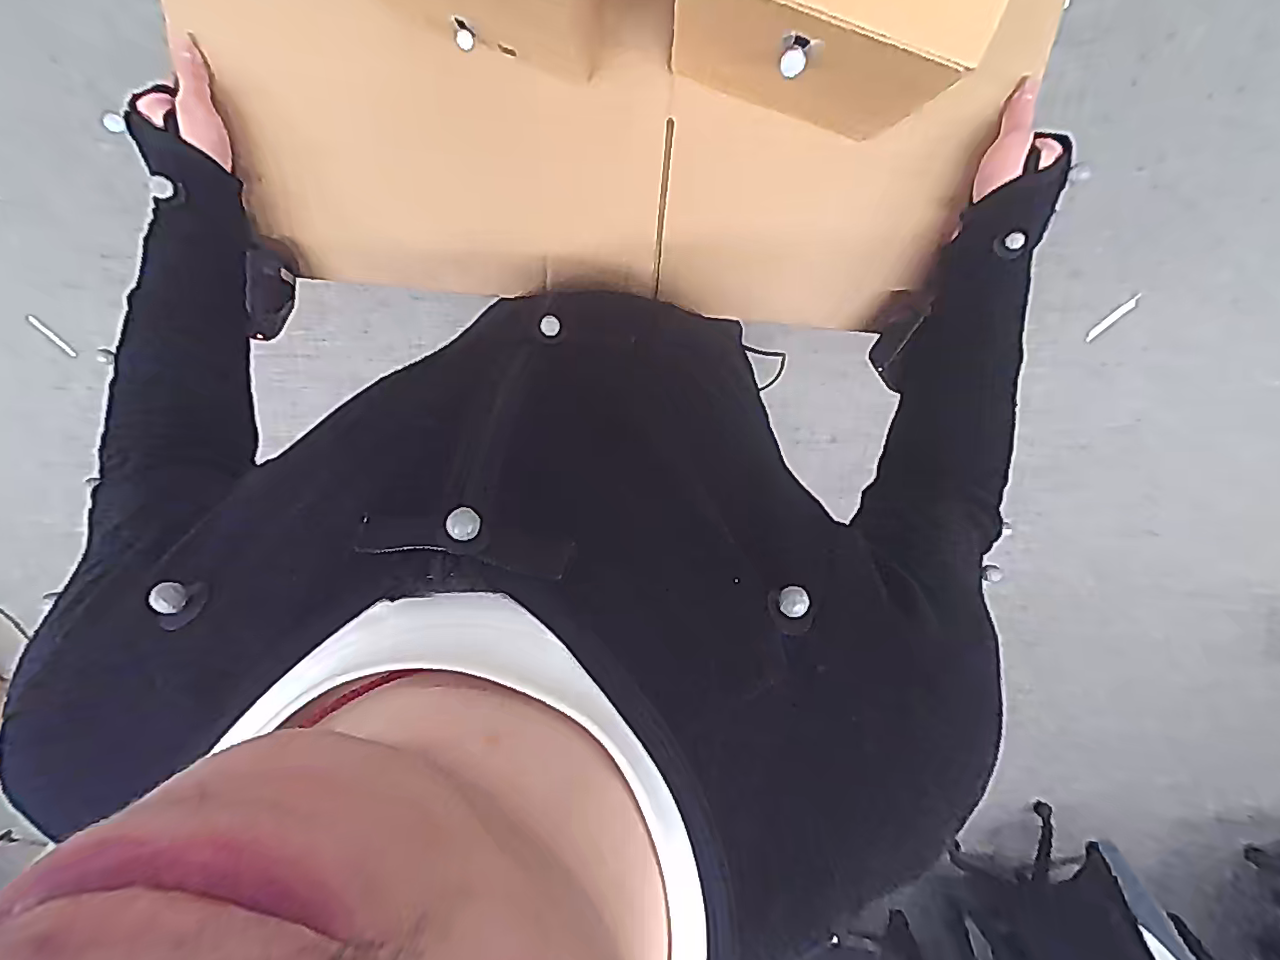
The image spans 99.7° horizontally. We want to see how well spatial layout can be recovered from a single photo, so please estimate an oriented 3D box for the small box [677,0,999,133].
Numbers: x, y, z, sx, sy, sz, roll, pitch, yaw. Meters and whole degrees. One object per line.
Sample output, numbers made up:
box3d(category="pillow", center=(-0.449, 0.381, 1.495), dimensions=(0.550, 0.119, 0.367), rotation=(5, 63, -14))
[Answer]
box3d(category="small box", center=(0.132, -0.355, 0.353), dimensions=(0.179, 0.176, 0.168), rotation=(18, 111, -3))
